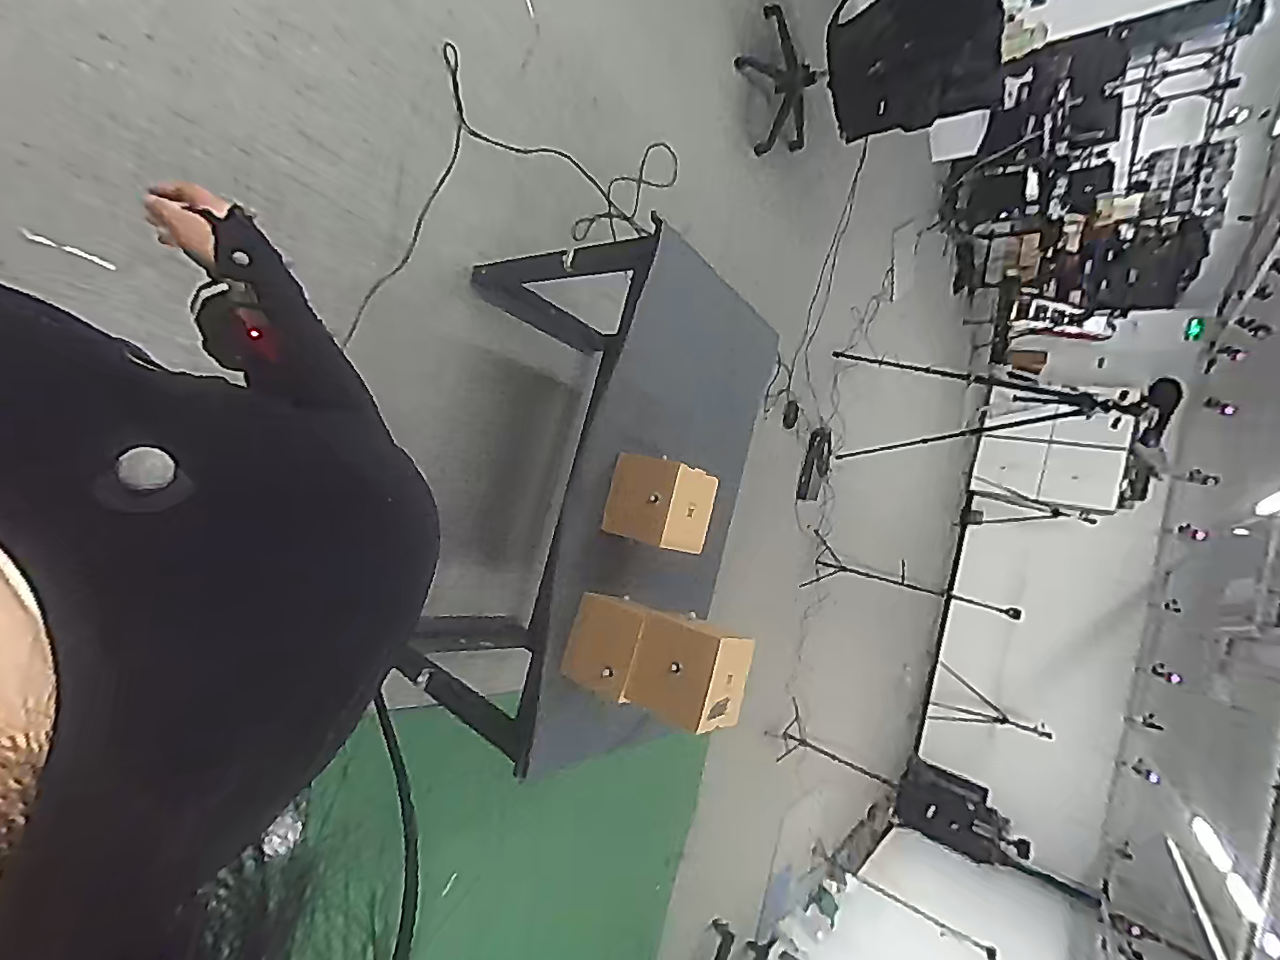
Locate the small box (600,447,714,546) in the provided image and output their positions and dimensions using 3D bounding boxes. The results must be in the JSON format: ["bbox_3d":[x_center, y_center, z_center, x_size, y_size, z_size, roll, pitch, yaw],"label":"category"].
[{"bbox_3d":[0.036,0.034,1.180,0.168,0.176,0.179,17,87,-52],"label":"small box"}]

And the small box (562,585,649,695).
[{"bbox_3d":[-0.042,0.340,1.154,0.168,0.176,0.179,26,77,-53],"label":"small box"}]

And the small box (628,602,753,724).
[{"bbox_3d":[0.097,0.354,1.067,0.168,0.176,0.179,24,79,-53],"label":"small box"}]
